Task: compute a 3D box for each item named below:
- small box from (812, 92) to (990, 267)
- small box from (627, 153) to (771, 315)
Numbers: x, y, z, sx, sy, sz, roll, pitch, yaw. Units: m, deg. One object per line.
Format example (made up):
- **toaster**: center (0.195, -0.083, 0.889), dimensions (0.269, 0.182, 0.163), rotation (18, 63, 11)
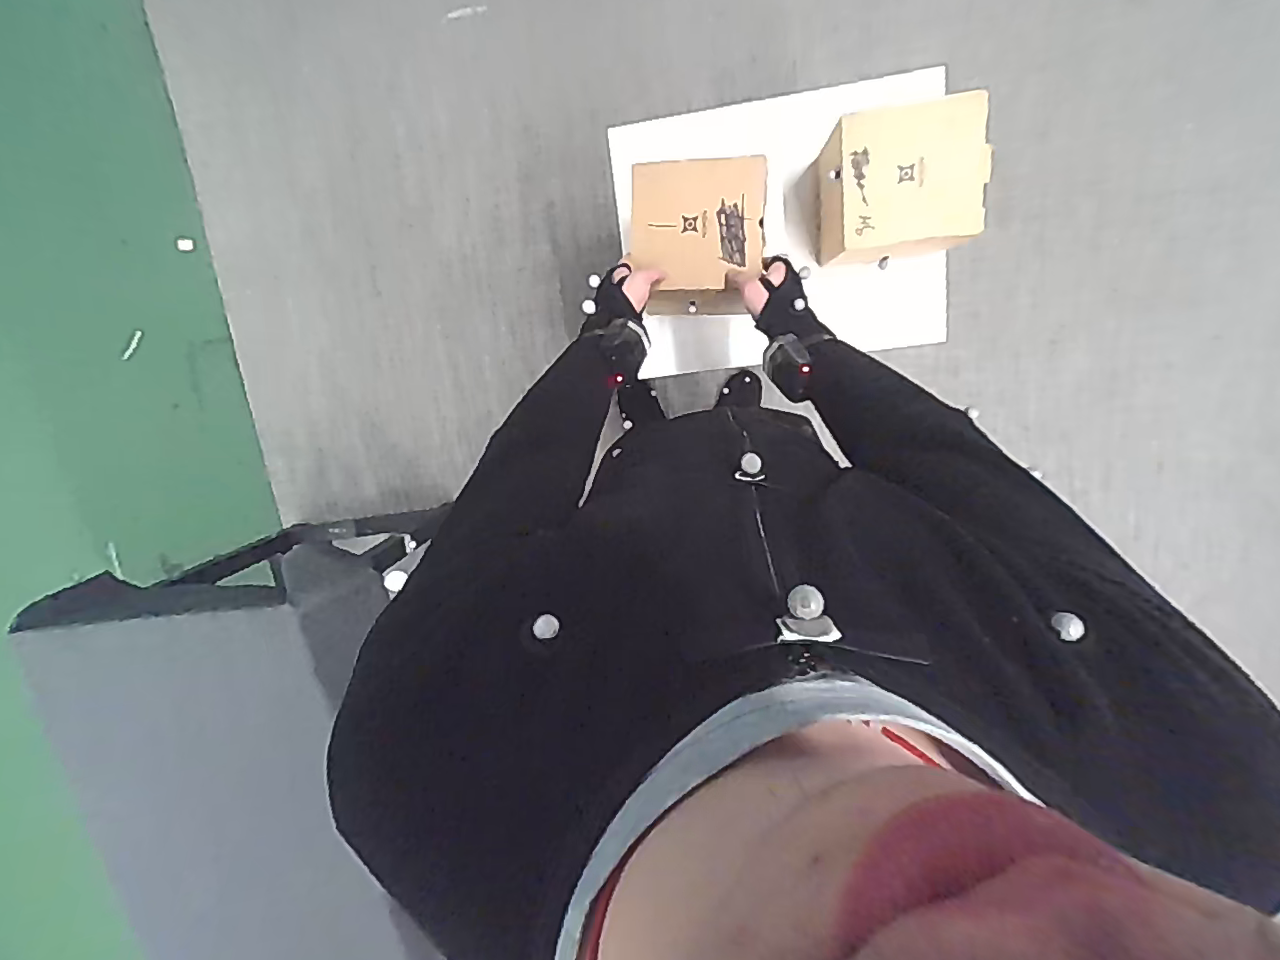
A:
- **small box**: center (0.350, -0.404, 0.756), dimensions (0.179, 0.176, 0.168), rotation (-5, 102, 6)
- **small box**: center (0.083, -0.332, 0.759), dimensions (0.179, 0.176, 0.168), rotation (2, 96, 9)
